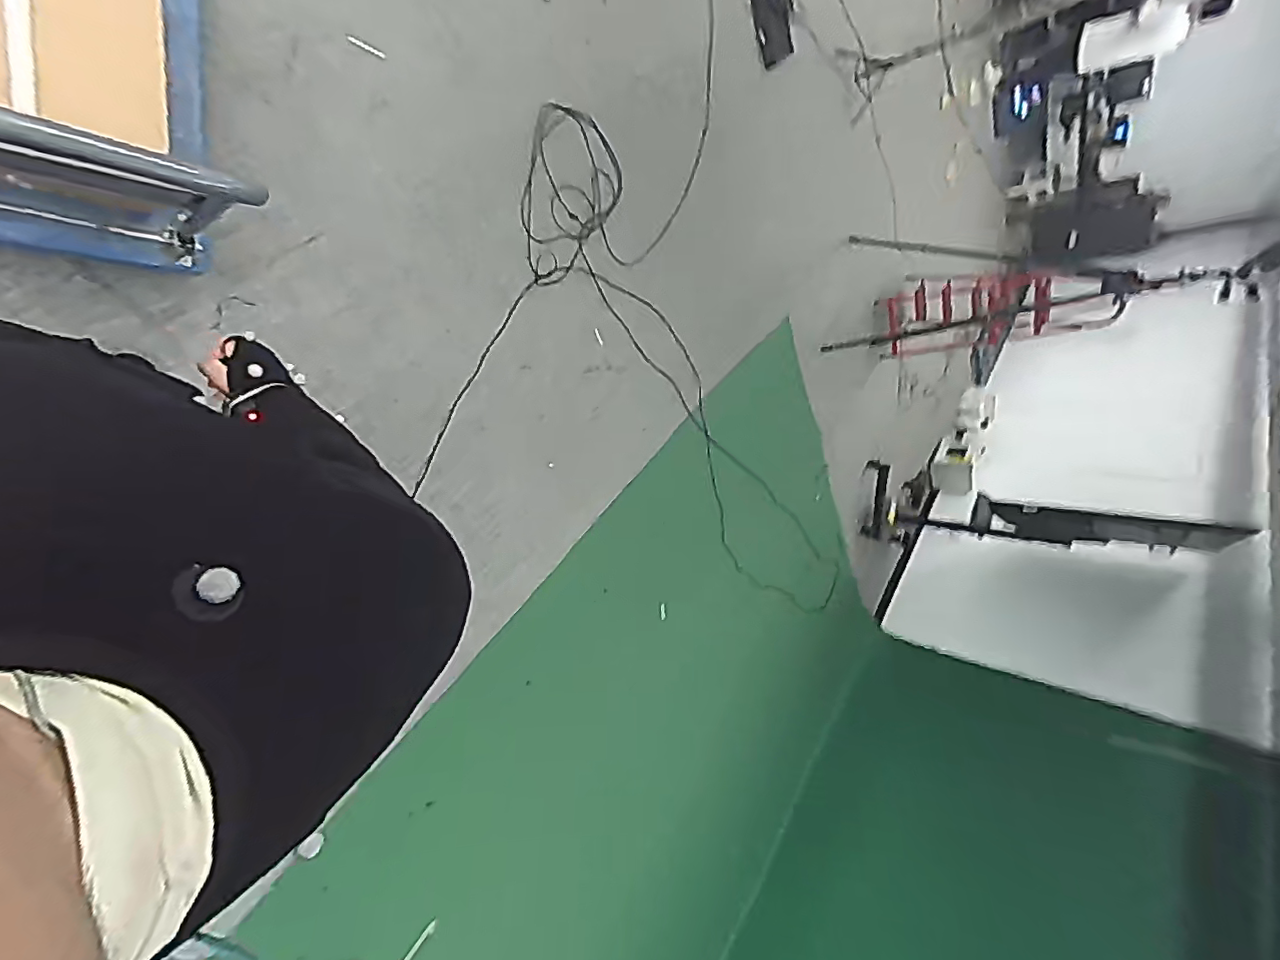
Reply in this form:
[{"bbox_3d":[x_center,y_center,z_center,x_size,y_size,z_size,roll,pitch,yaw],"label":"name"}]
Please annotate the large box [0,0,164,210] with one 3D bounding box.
[{"bbox_3d":[-0.981,-0.703,0.845,0.320,0.320,0.408,-5,99,-47],"label":"large box"}]
